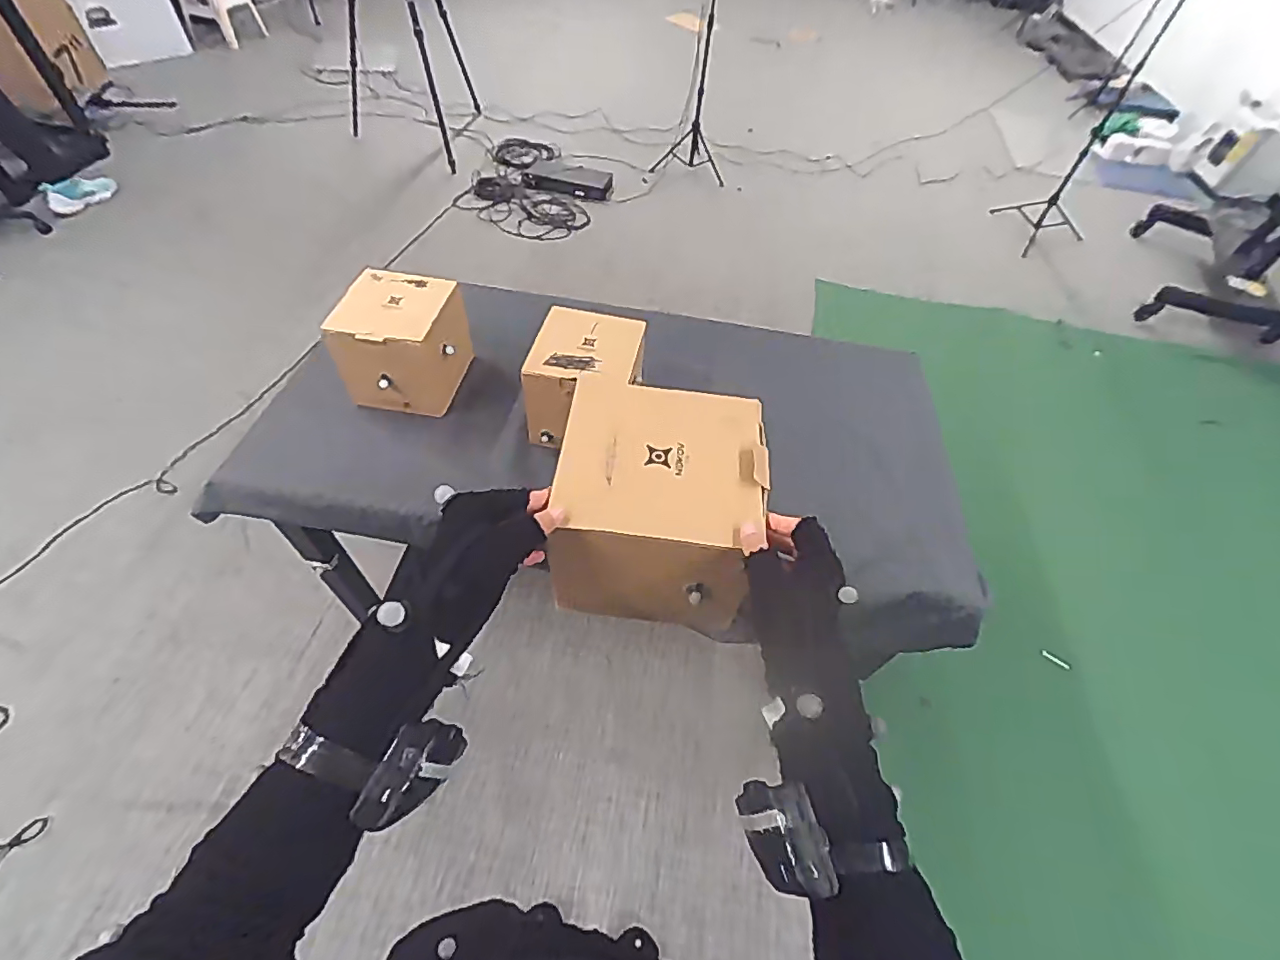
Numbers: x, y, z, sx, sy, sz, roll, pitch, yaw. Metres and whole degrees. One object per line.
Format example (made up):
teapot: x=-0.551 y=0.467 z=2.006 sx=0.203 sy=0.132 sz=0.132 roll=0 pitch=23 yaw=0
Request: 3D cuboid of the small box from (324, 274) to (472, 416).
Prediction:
small box: x=-0.414 y=-0.237 z=0.964 sx=0.168 sy=0.176 sz=0.179 roll=8 pitch=53 yaw=1

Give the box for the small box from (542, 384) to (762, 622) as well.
small box: x=0.013 y=0.029 z=0.532 sx=0.179 sy=0.176 sz=0.168 roll=5 pitch=53 yaw=2

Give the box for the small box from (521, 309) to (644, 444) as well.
small box: x=-0.092 y=-0.165 z=0.935 sx=0.168 sy=0.176 sz=0.179 roll=10 pitch=52 yaw=4
